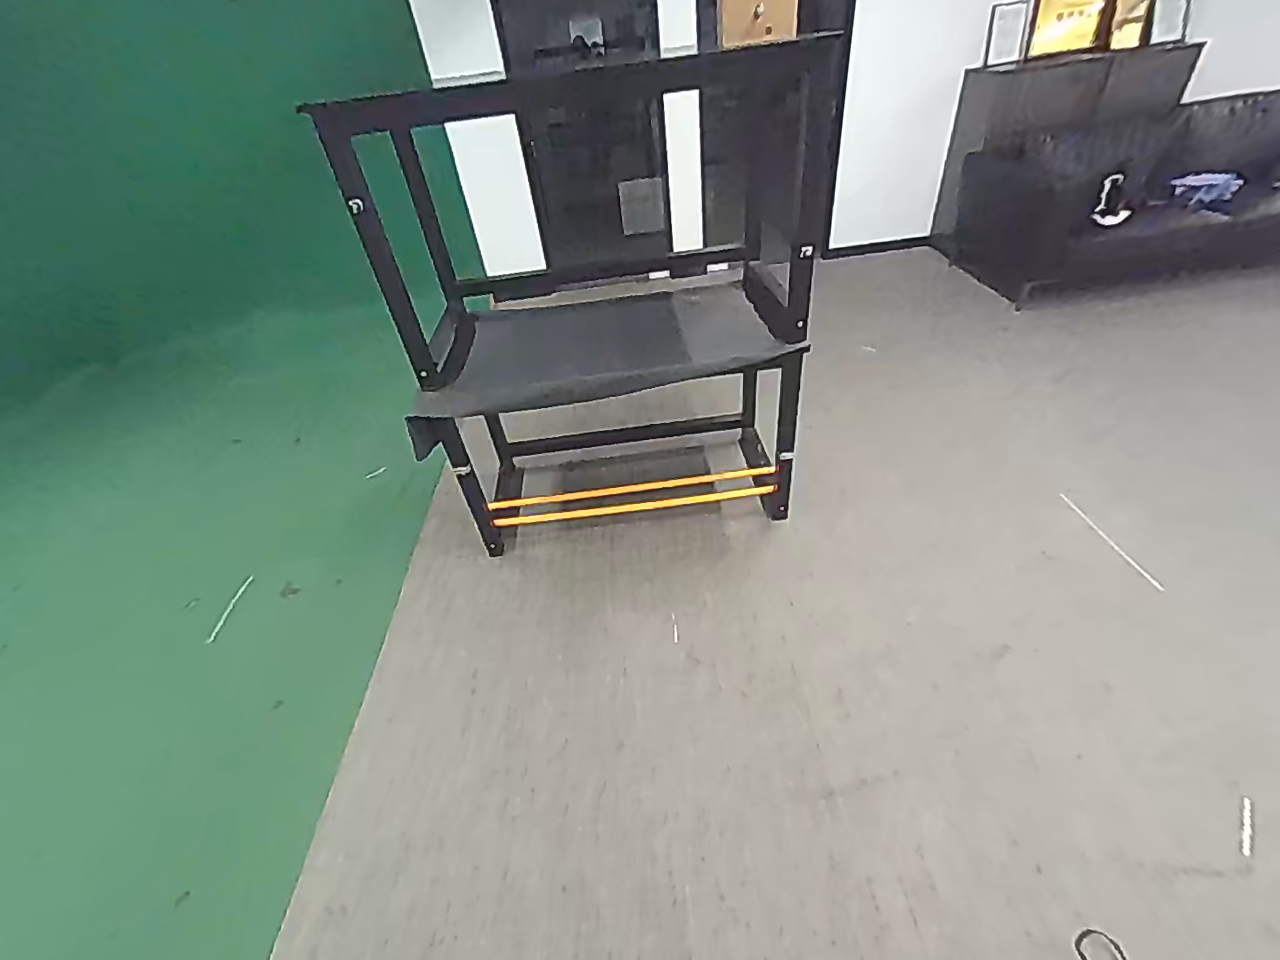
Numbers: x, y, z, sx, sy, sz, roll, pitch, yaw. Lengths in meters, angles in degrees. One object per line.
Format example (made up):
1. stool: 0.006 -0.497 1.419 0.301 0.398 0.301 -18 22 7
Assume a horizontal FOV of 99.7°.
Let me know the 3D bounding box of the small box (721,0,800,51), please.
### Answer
1. small box: 0.272 -1.104 1.246 0.168 0.176 0.179 -3 39 7
